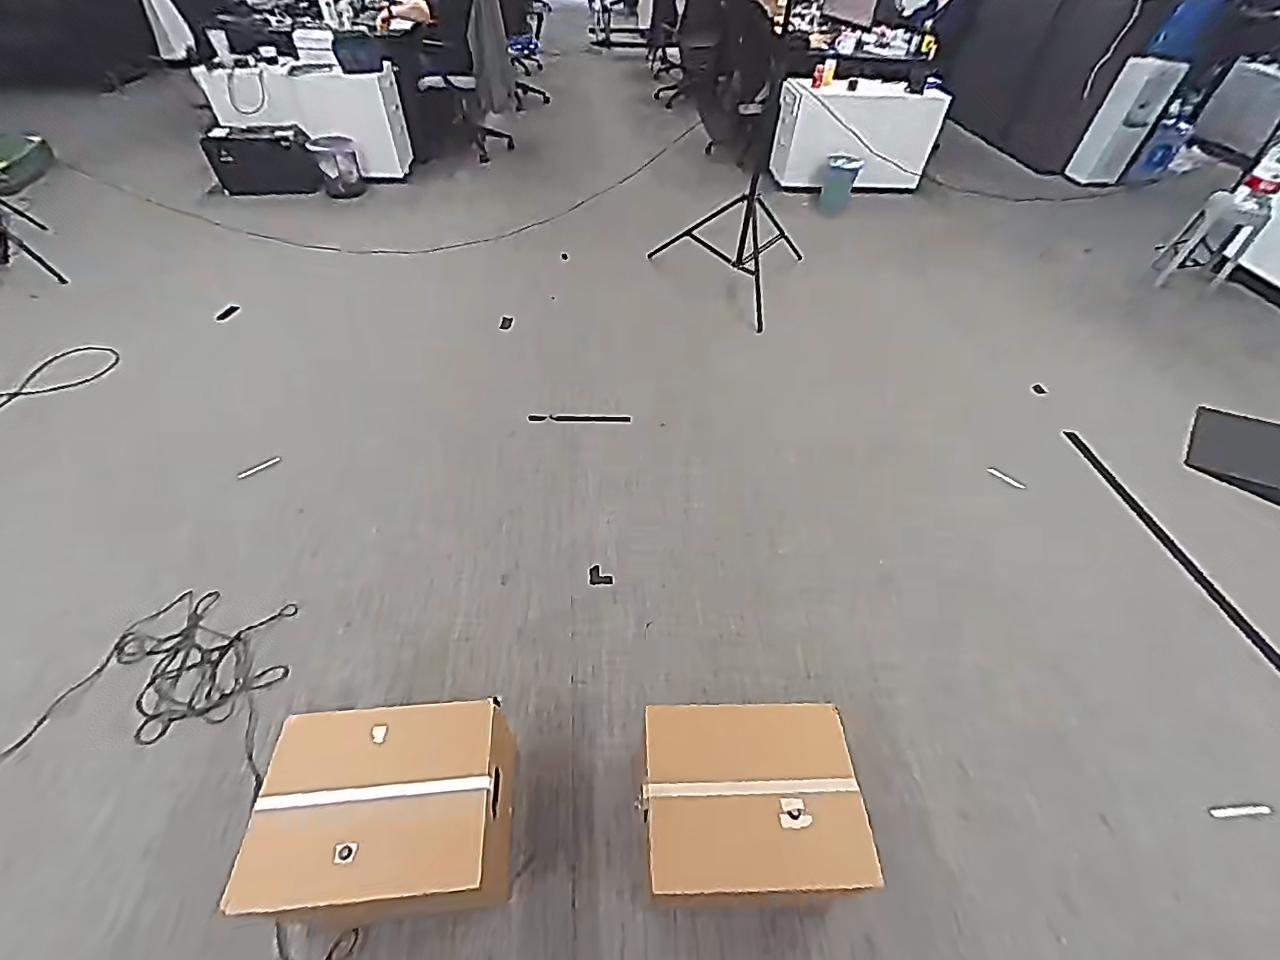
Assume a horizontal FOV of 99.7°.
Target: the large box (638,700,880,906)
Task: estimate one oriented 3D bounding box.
[{"bbox_3d":[0.209,0.679,1.139,0.408,0.320,0.320,1,48,-4],"label":"large box"}]
